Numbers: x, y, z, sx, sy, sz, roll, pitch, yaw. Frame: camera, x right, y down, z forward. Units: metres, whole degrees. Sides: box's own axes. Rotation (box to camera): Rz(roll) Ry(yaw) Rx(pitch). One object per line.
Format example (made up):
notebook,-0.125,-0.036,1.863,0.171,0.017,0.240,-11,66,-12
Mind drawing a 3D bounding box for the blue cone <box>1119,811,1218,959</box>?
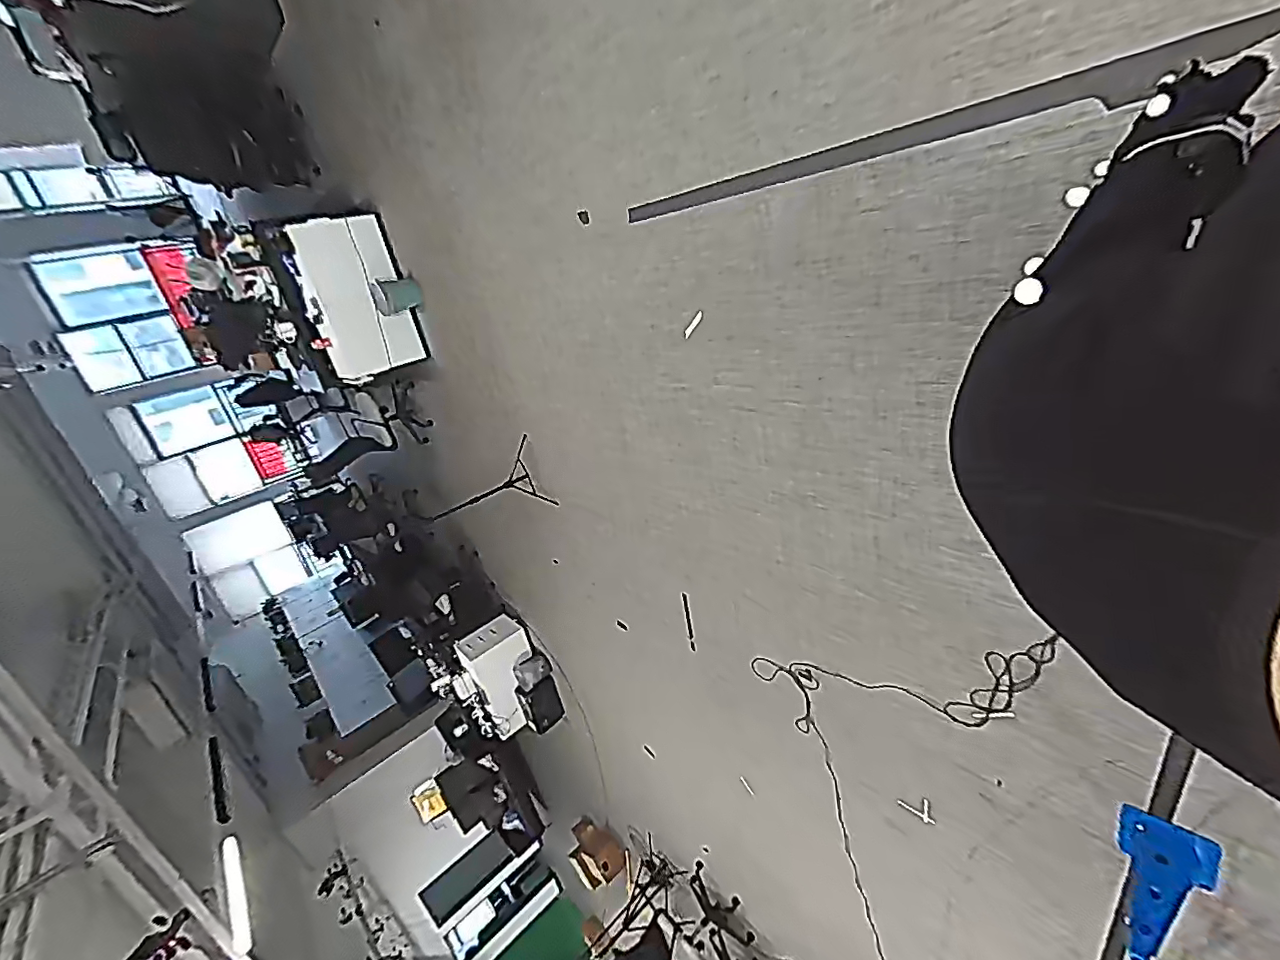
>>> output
blue cone,1.345,1.091,1.410,0.192,0.380,0.193,11,123,48
